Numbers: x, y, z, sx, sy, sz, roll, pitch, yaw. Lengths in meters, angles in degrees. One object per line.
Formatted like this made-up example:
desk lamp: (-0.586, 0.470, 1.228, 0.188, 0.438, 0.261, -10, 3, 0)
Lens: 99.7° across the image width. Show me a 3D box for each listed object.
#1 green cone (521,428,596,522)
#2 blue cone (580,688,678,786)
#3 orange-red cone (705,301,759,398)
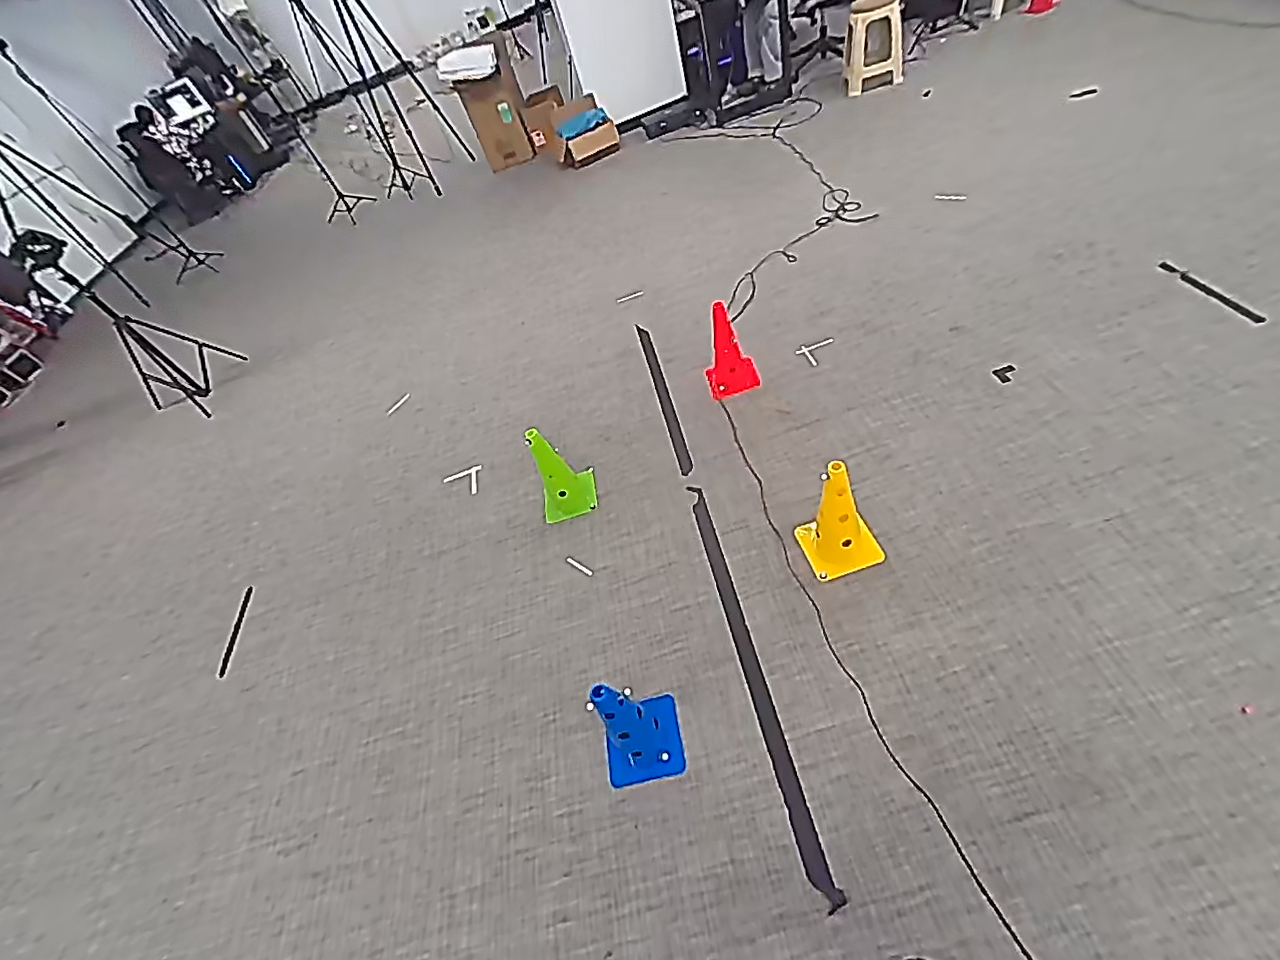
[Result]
green cone: (-0.316, -0.050, 1.908, 0.202, 0.368, 0.200, -19, 47, 6)
blue cone: (-0.048, 0.574, 1.288, 0.192, 0.380, 0.193, -16, 47, 8)
orange-red cone: (0.326, -0.523, 2.072, 0.199, 0.360, 0.198, -14, 49, 7)
